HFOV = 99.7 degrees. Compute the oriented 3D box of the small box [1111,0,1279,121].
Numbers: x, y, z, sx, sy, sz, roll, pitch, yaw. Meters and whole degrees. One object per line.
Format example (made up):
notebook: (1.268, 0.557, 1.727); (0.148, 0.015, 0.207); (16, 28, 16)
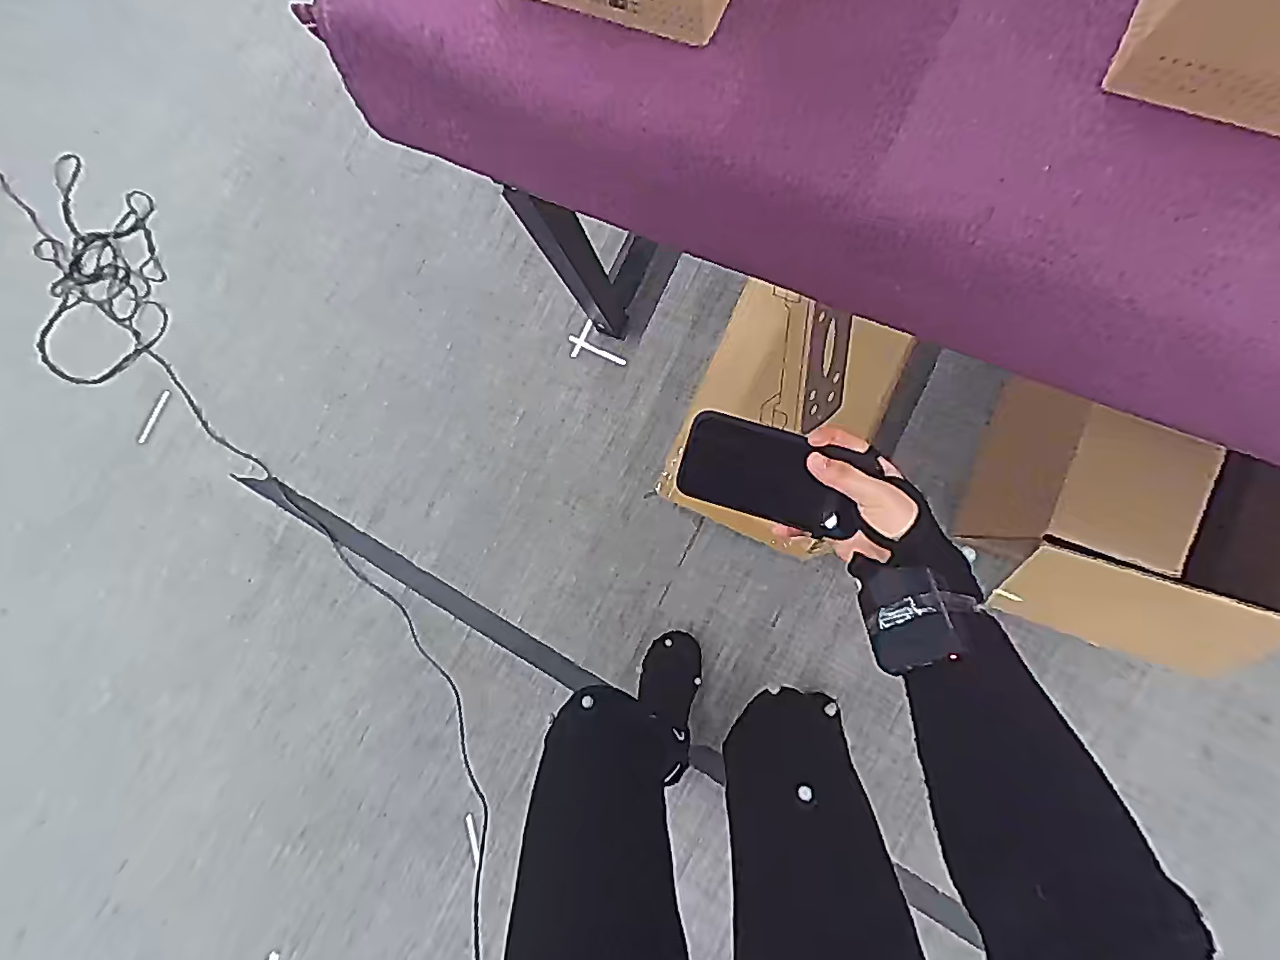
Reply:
small box: (0.358, -0.272, 0.213); (0.179, 0.176, 0.168); (24, 87, 11)
